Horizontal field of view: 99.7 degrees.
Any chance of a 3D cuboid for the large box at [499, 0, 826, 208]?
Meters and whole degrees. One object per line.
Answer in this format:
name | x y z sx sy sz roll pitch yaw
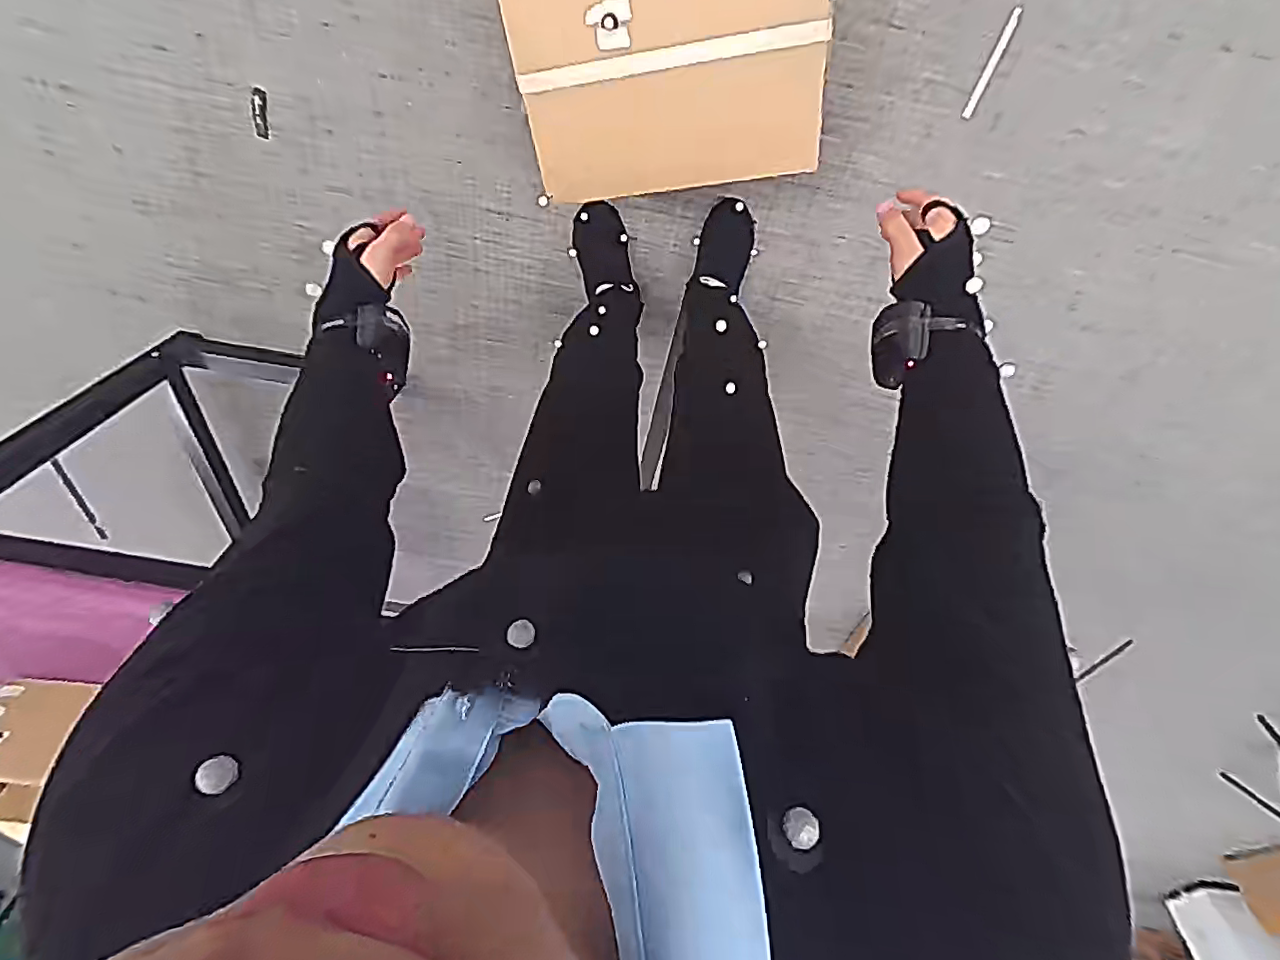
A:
large box | 0.047 -0.643 0.808 0.408 0.320 0.320 -3 130 9
